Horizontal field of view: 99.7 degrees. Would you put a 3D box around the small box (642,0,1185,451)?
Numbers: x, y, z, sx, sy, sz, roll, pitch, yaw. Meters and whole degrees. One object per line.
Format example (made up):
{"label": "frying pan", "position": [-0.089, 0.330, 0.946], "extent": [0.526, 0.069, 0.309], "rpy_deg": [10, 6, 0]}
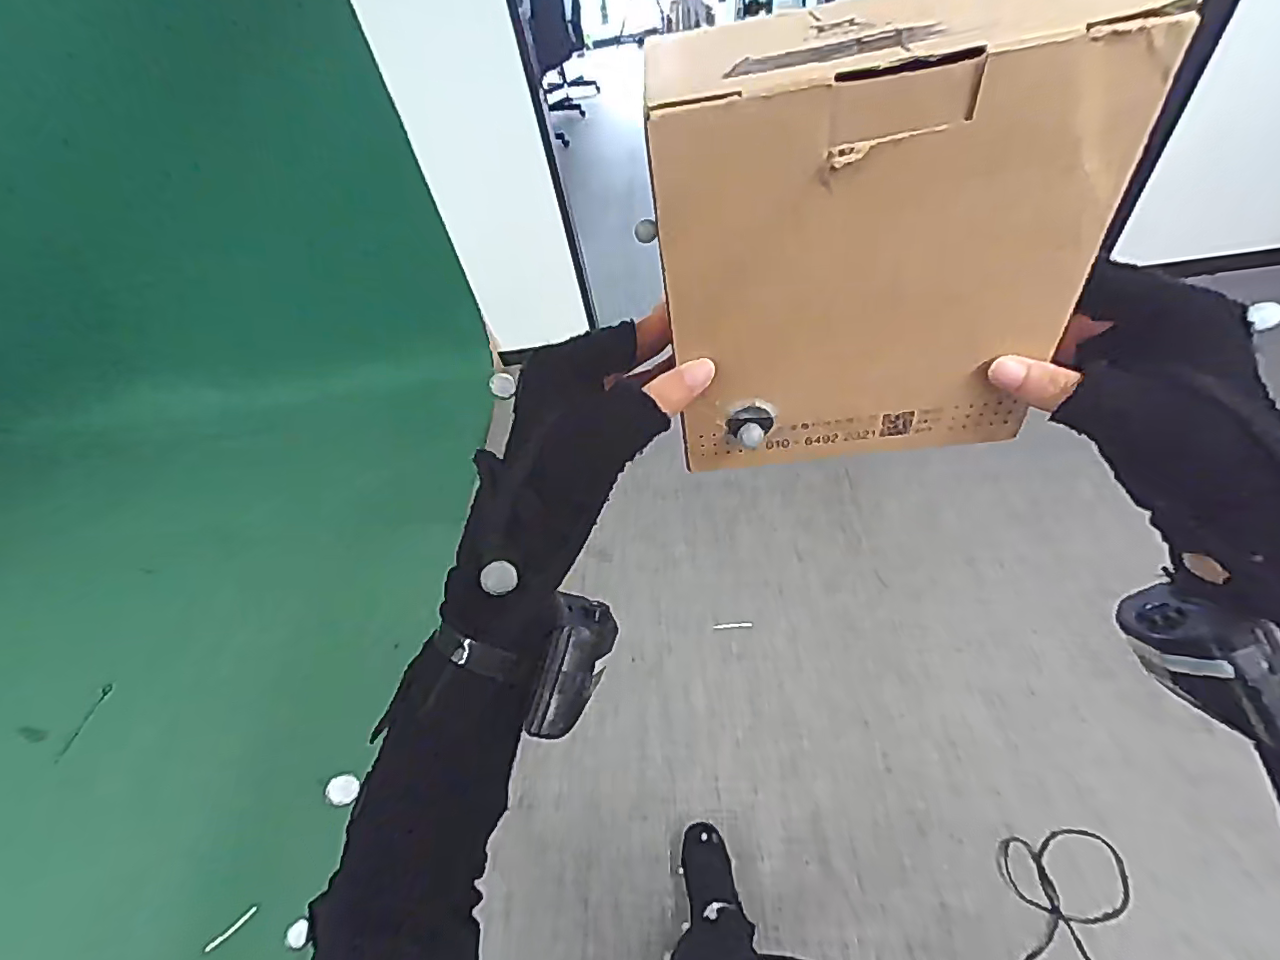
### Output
{"label": "small box", "position": [0.095, -0.128, 0.281], "extent": [0.168, 0.176, 0.179], "rpy_deg": [-6, 44, 6]}
